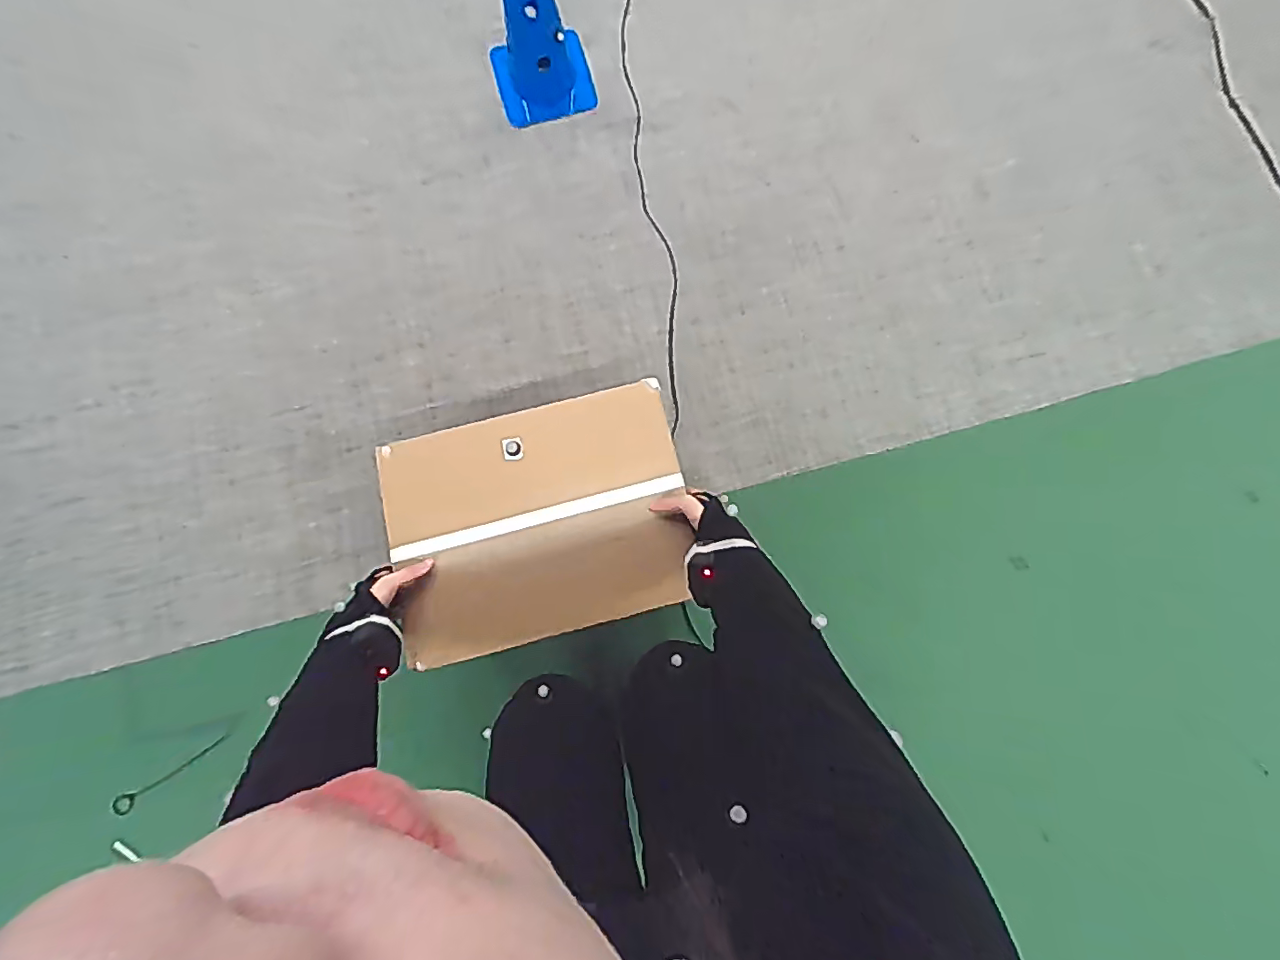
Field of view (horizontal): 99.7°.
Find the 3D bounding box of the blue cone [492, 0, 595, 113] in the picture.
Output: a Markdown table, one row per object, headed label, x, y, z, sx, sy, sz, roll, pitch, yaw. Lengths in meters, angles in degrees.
| label | x | y | z | sx | sy | sz | roll | pitch | yaw |
| --- | --- | --- | --- | --- | --- | --- | --- | --- | --- |
| blue cone | -0.203 | -0.893 | 0.979 | 0.193 | 0.380 | 0.192 | -18 | 83 | -2 |
